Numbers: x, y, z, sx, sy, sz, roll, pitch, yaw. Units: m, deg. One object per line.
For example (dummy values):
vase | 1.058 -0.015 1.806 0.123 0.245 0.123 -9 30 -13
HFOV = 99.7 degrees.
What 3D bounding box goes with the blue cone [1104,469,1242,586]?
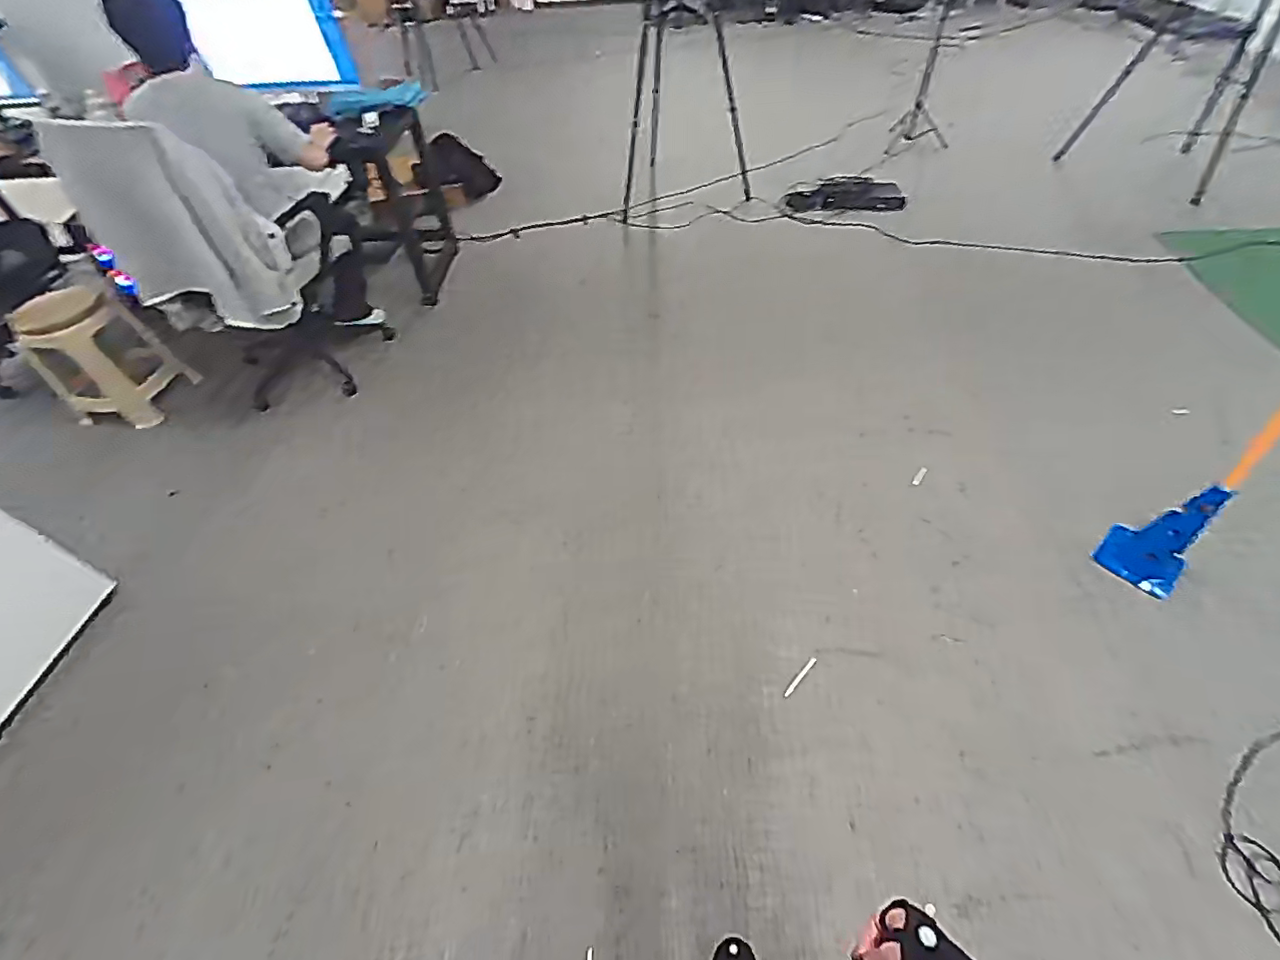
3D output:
blue cone | 1.501 0.111 1.492 0.192 0.380 0.193 -39 56 -24
